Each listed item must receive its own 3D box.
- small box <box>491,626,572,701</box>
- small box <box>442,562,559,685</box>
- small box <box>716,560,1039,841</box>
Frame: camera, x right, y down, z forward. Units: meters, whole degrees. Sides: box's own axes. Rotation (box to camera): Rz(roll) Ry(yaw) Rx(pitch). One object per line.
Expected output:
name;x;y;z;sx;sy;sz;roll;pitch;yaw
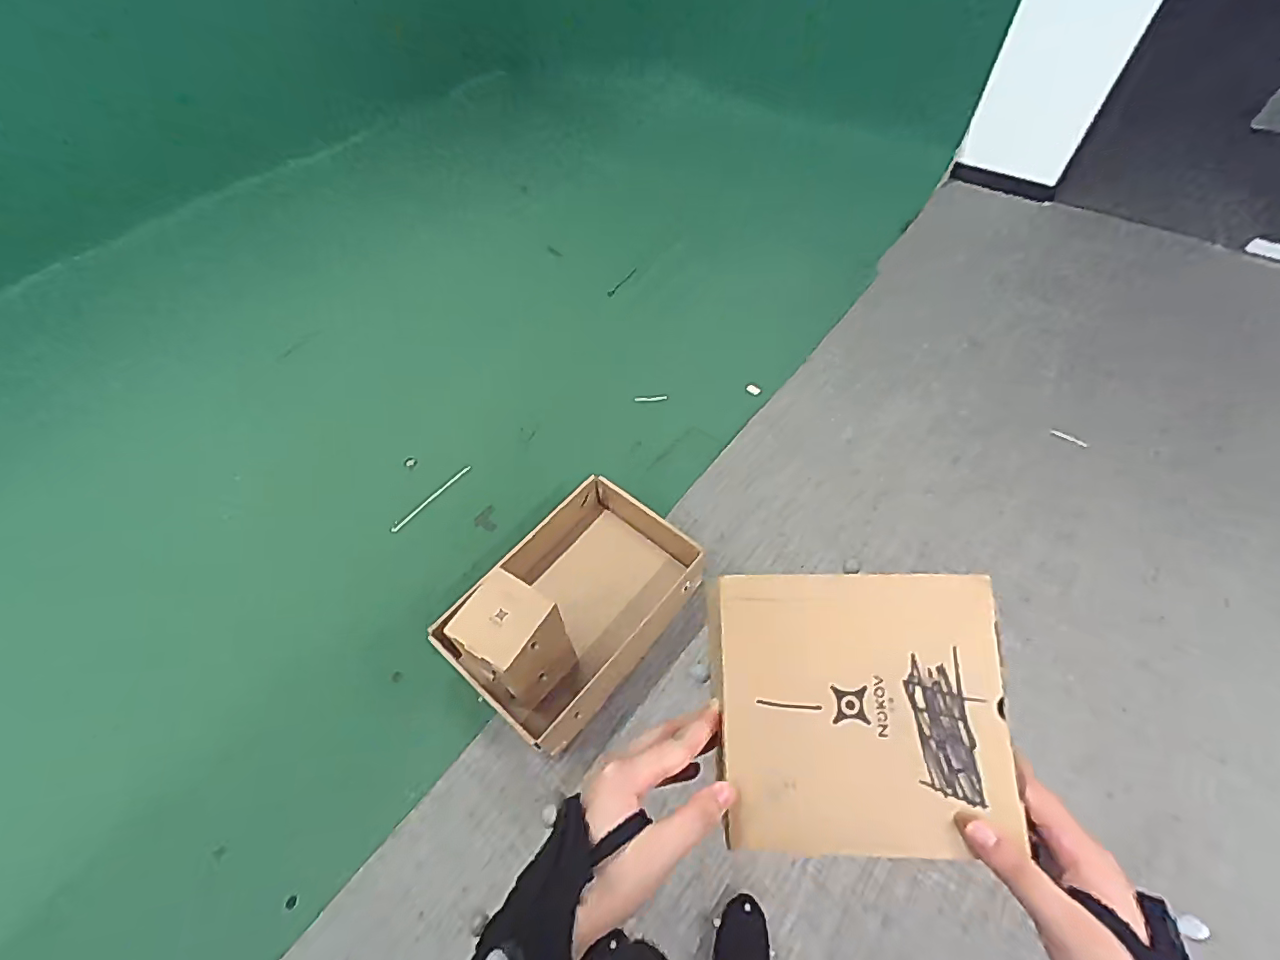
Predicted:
small box;-0.286;0.409;1.322;0.168;0.176;0.179;36;64;22
small box;-0.292;0.320;1.185;0.168;0.176;0.179;27;58;17
small box;0.154;0.150;0.416;0.179;0.176;0.168;-1;77;4
